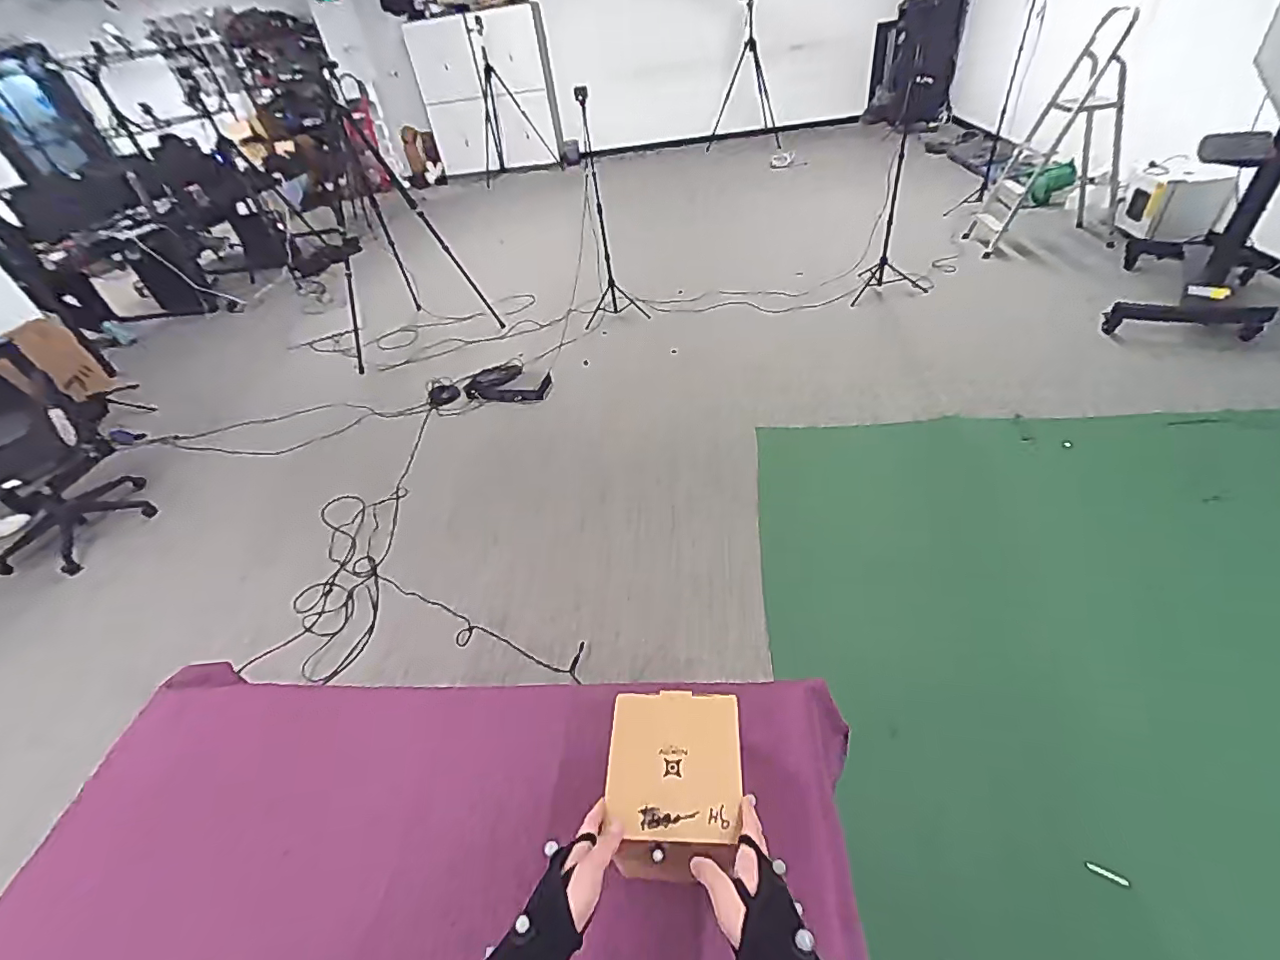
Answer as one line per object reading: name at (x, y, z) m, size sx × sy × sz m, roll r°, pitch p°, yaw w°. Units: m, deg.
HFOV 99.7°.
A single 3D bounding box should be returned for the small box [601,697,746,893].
small box at (0.053, 0.413, 0.717) m, size 0.168 × 0.176 × 0.179 m, roll -3°, pitch 40°, yaw 9°
